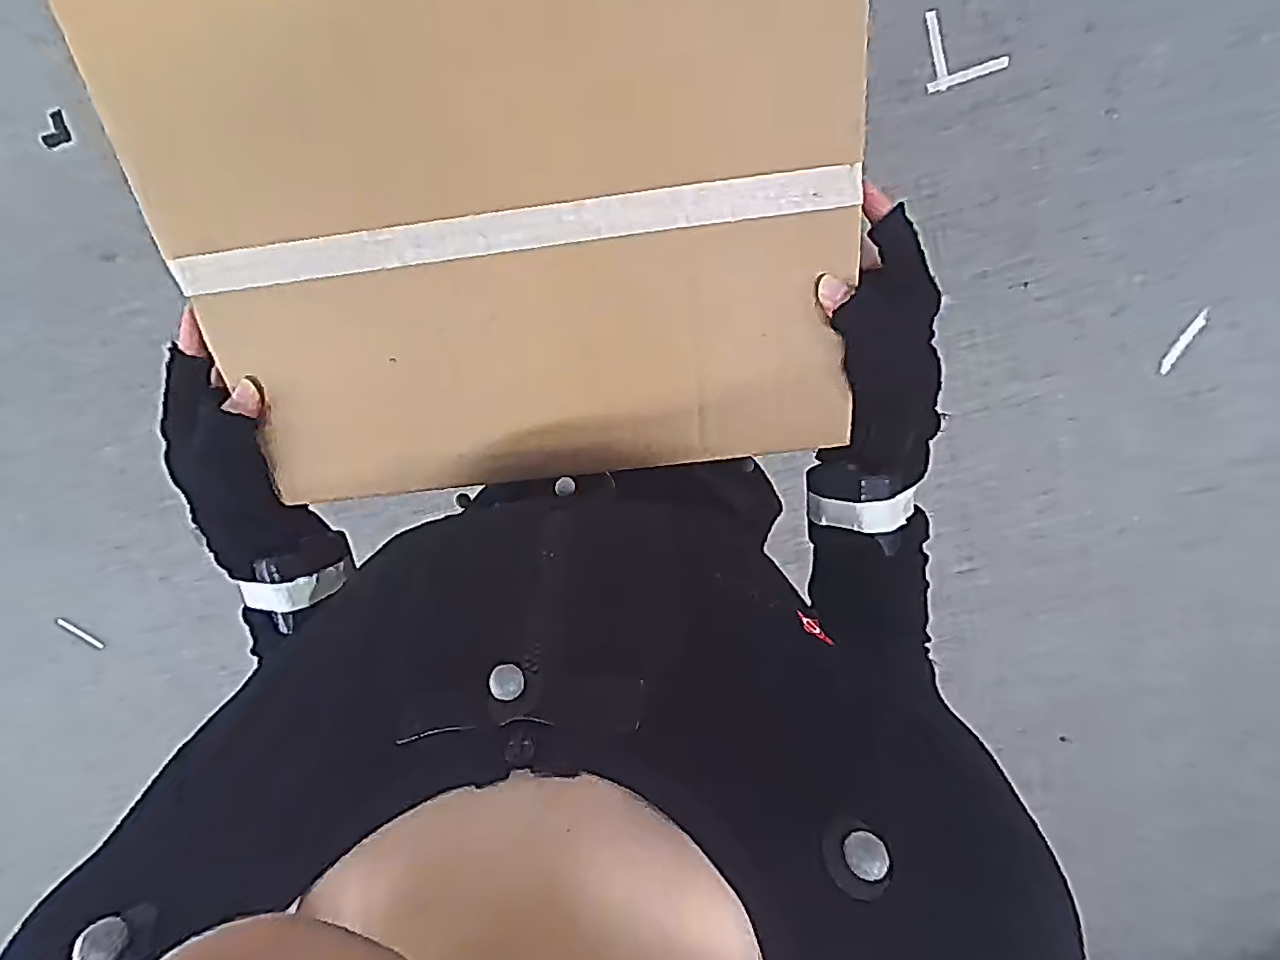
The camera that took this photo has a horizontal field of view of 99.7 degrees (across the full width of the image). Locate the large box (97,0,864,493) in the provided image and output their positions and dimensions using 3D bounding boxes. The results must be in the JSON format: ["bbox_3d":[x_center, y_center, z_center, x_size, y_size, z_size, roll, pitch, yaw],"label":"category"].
[{"bbox_3d":[-0.070,-0.211,0.461,0.408,0.320,0.320,-6,116,3],"label":"large box"}]
